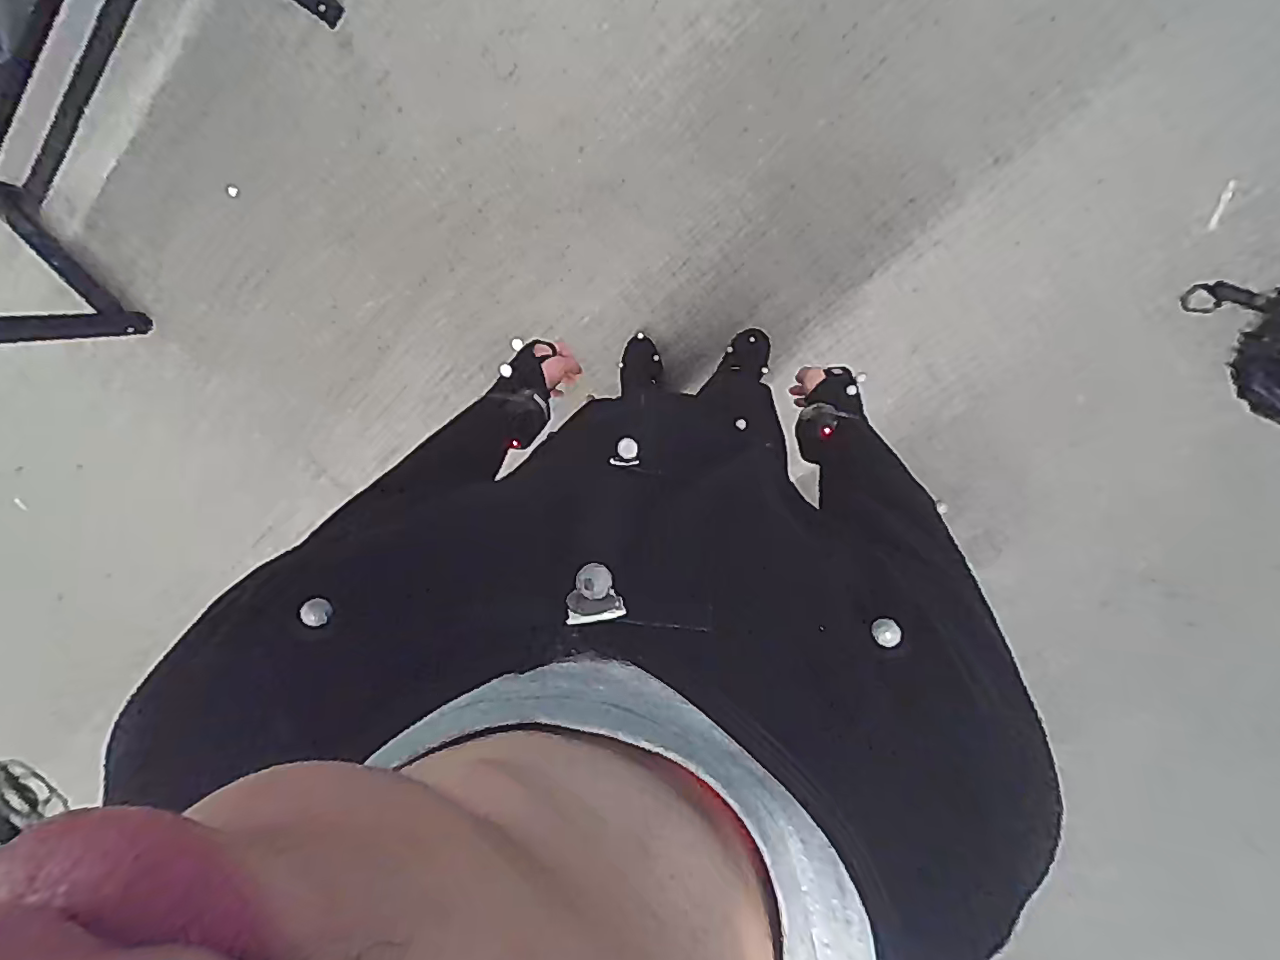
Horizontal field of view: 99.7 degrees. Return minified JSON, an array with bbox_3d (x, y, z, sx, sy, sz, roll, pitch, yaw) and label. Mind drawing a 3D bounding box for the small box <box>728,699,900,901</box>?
[{"bbox_3d":[0.255,0.479,0.826,0.179,0.176,0.168,45,110,-5],"label":"small box"}]
